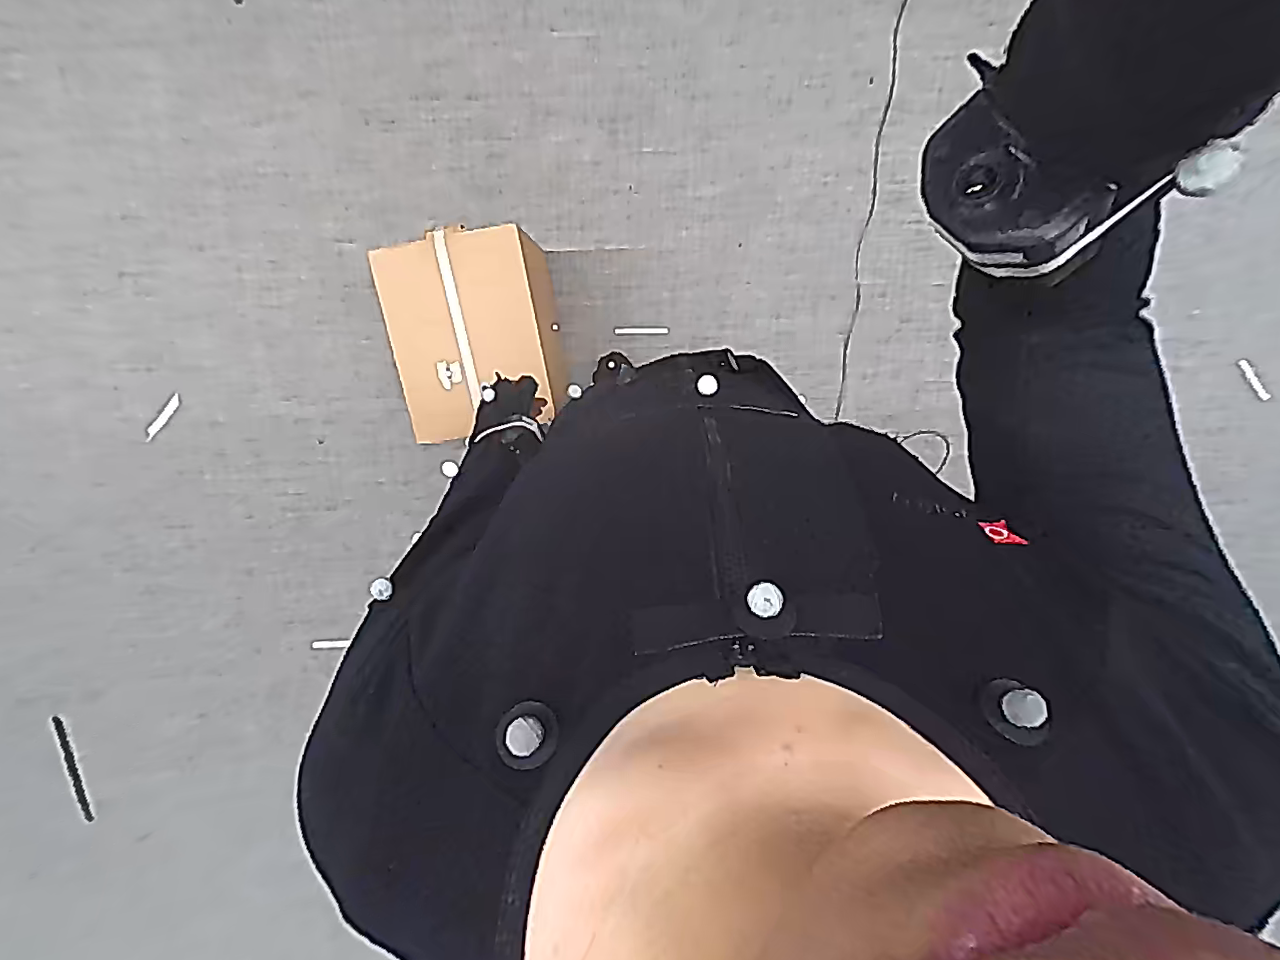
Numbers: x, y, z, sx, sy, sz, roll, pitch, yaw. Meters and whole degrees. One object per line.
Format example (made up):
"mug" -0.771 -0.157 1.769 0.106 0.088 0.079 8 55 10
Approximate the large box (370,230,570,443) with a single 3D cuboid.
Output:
"large box" -0.372 -0.331 1.293 0.320 0.320 0.408 -9 103 4
